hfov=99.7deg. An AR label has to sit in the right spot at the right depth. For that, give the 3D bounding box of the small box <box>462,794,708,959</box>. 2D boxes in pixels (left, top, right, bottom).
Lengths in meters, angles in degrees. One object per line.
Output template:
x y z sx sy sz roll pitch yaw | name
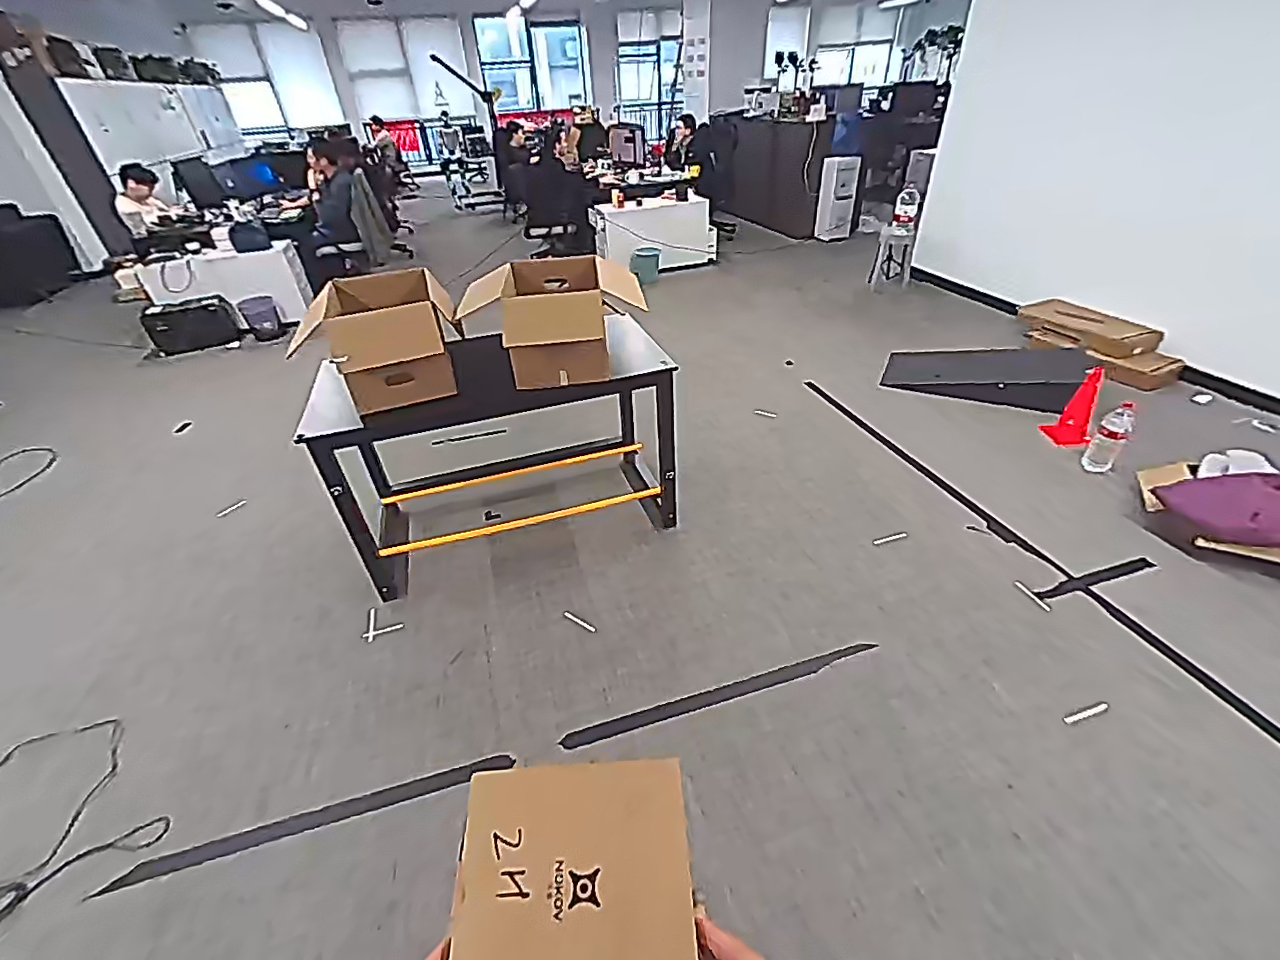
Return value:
-0.039 0.378 0.455 0.179 0.176 0.168 -3 47 -1 | small box
